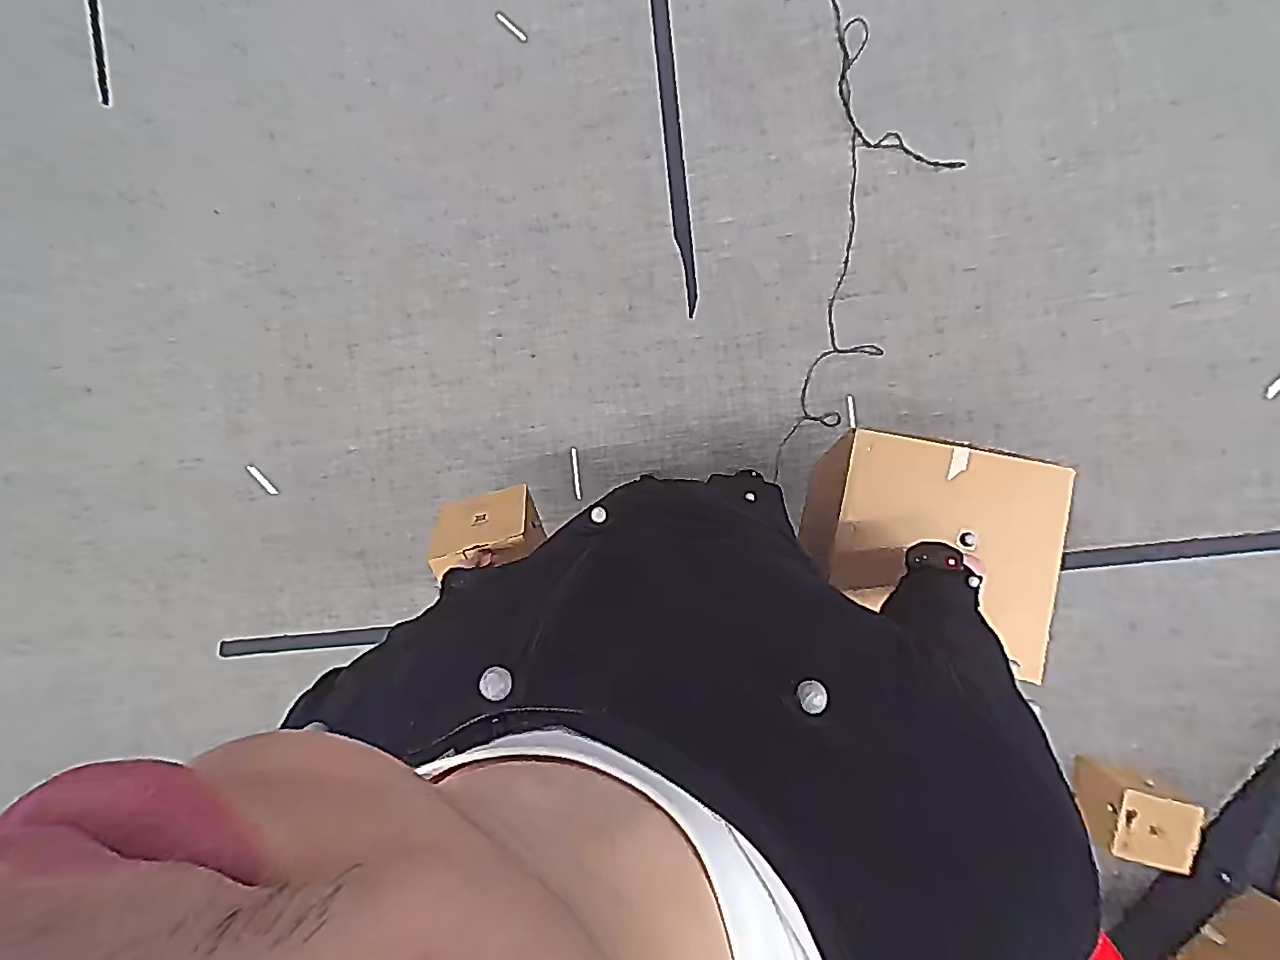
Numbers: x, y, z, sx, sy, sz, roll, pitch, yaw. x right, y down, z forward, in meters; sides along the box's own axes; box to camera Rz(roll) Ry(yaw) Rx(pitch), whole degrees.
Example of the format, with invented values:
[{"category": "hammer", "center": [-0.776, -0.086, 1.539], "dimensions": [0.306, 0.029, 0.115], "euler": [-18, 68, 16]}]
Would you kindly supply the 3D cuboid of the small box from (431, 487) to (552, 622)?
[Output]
[{"category": "small box", "center": [-0.267, 0.143, 1.012], "dimensions": [0.168, 0.179, 0.176], "euler": [-15, 119, -2]}]
